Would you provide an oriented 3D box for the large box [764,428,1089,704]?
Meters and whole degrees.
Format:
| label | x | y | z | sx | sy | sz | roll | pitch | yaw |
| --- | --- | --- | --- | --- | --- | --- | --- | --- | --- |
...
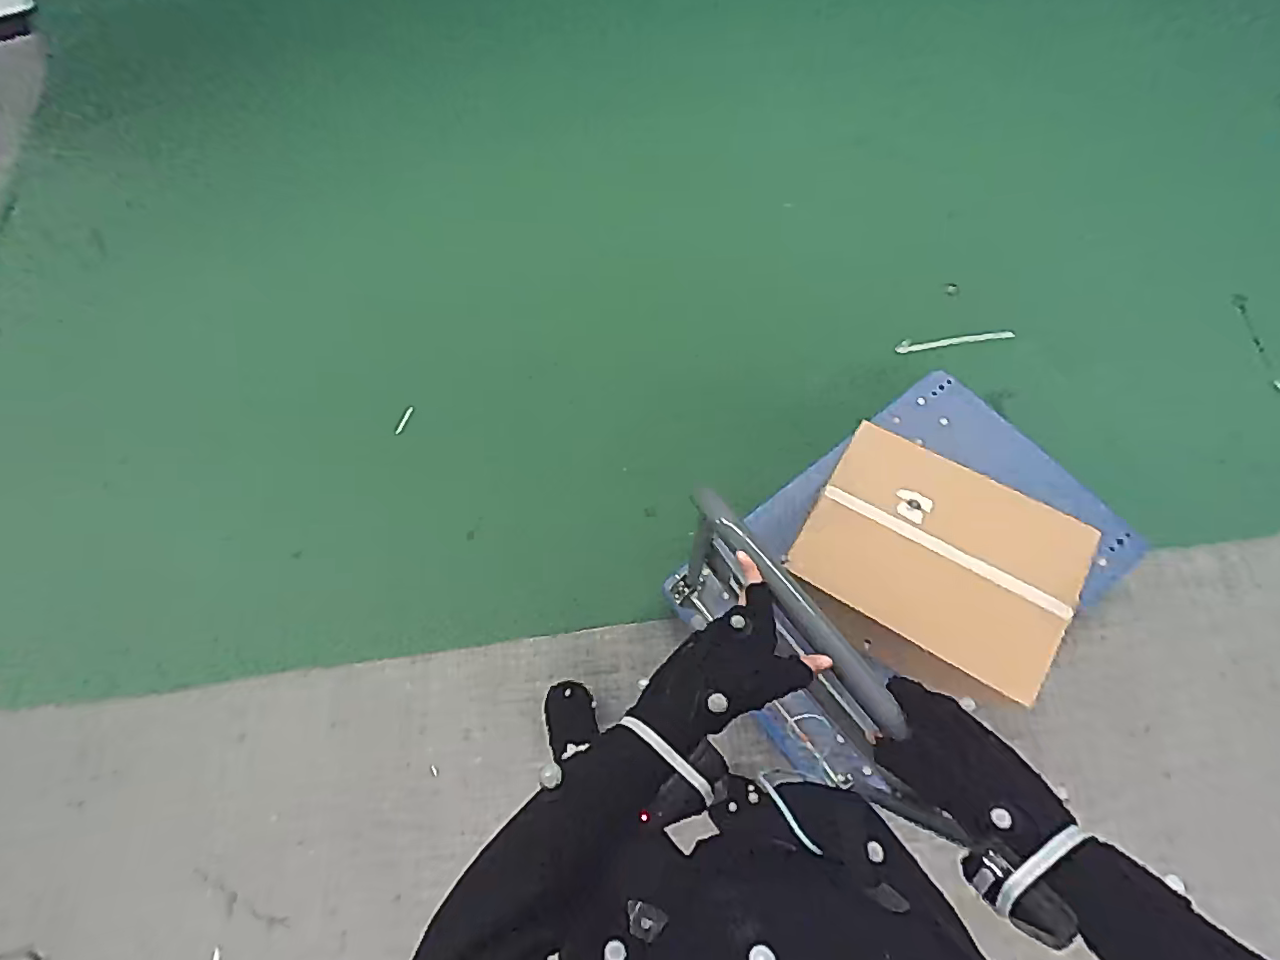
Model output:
| label | x | y | z | sx | sy | sz | roll | pitch | yaw |
| --- | --- | --- | --- | --- | --- | --- | --- | --- | --- |
| large box | 0.493 | 0.169 | 1.022 | 0.408 | 0.320 | 0.320 | 30 | 76 | 17 |
